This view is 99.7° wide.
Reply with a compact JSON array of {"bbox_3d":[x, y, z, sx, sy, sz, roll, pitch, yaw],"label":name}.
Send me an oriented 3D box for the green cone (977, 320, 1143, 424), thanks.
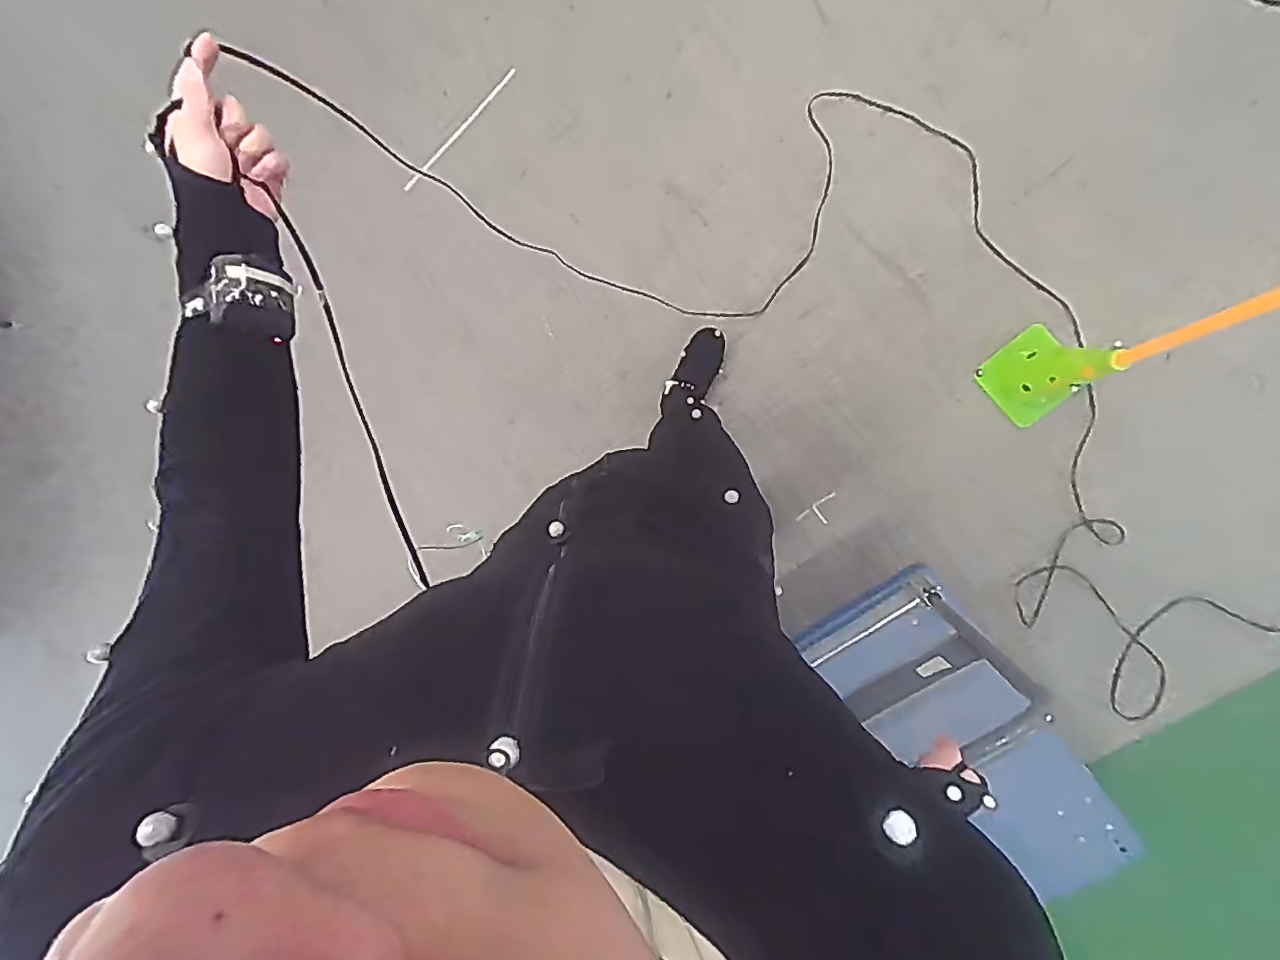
[{"bbox_3d":[0.964,-0.255,1.202,0.202,0.368,0.200,-42,87,11],"label":"green cone"}]
